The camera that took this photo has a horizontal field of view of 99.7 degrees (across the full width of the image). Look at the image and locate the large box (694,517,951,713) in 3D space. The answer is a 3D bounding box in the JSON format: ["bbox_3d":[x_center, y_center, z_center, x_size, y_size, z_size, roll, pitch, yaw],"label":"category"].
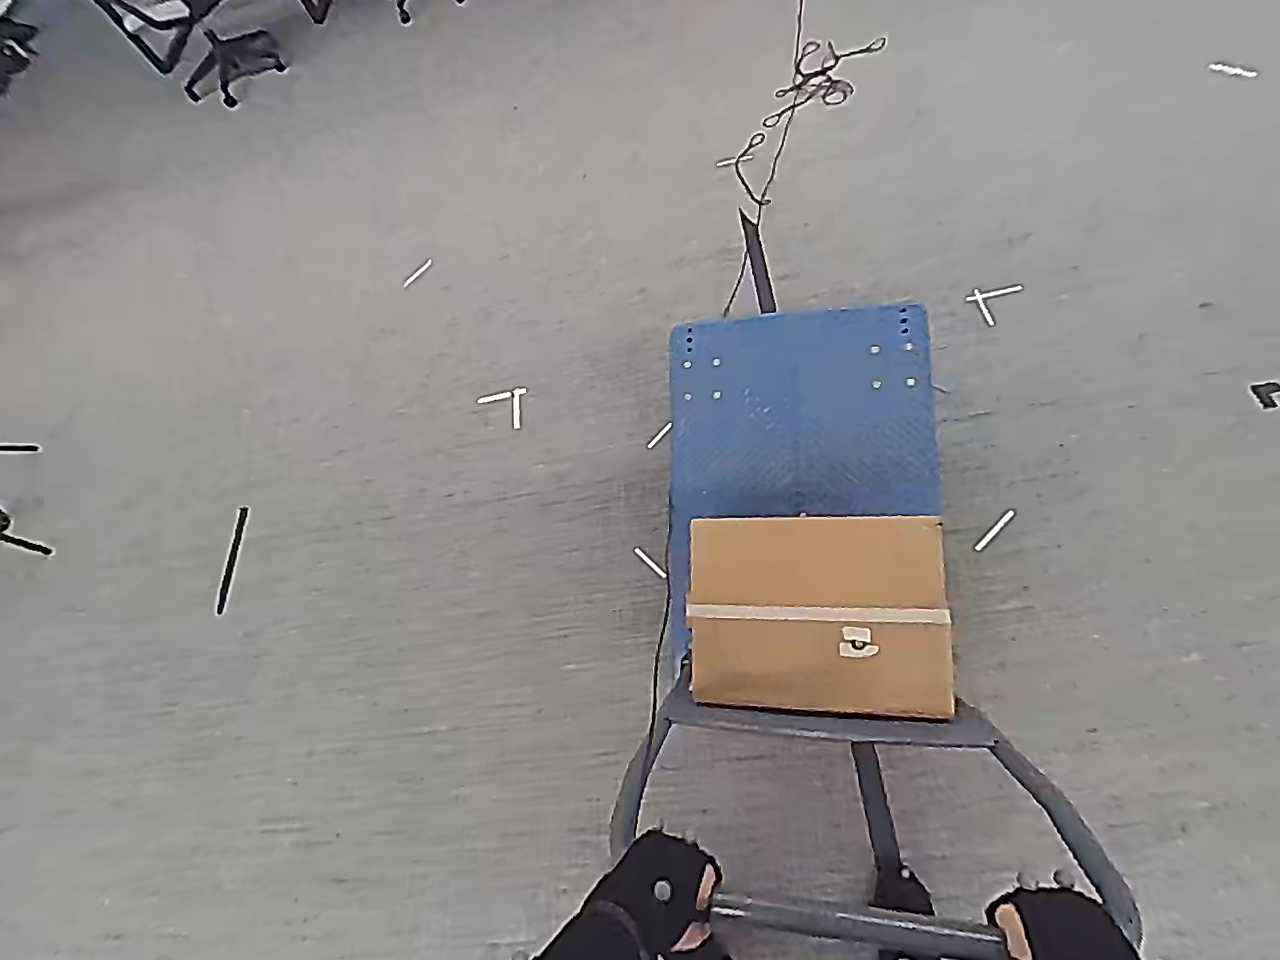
[{"bbox_3d":[0.323,0.241,1.048,0.408,0.320,0.320,-2,83,13],"label":"large box"}]
